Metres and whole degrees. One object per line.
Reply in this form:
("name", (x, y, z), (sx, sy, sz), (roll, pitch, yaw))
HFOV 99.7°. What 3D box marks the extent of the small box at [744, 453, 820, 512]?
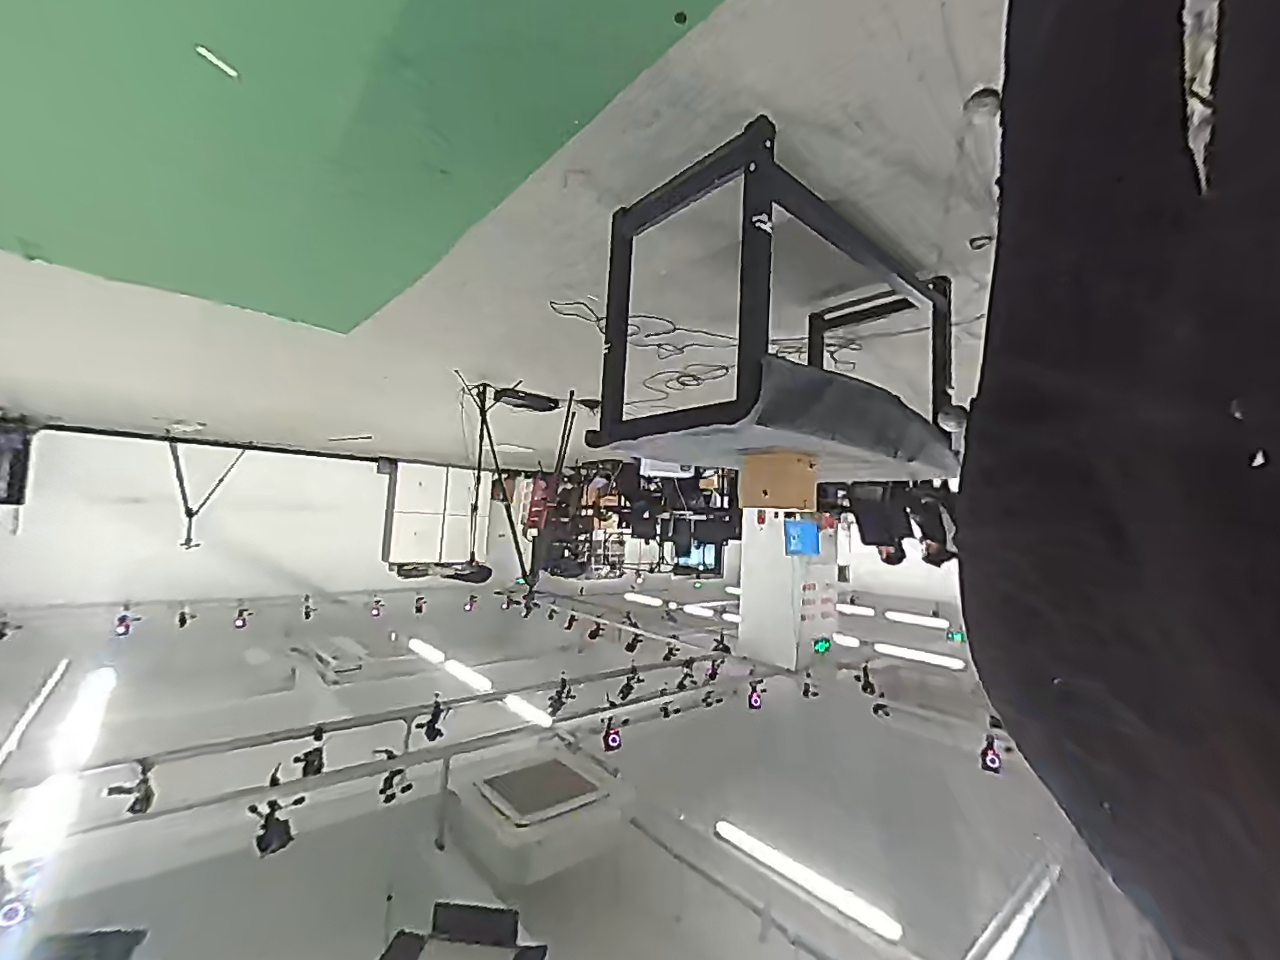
("small box", (0.442, 0.010, 1.683), (0.168, 0.176, 0.179), (7, 175, -39))
